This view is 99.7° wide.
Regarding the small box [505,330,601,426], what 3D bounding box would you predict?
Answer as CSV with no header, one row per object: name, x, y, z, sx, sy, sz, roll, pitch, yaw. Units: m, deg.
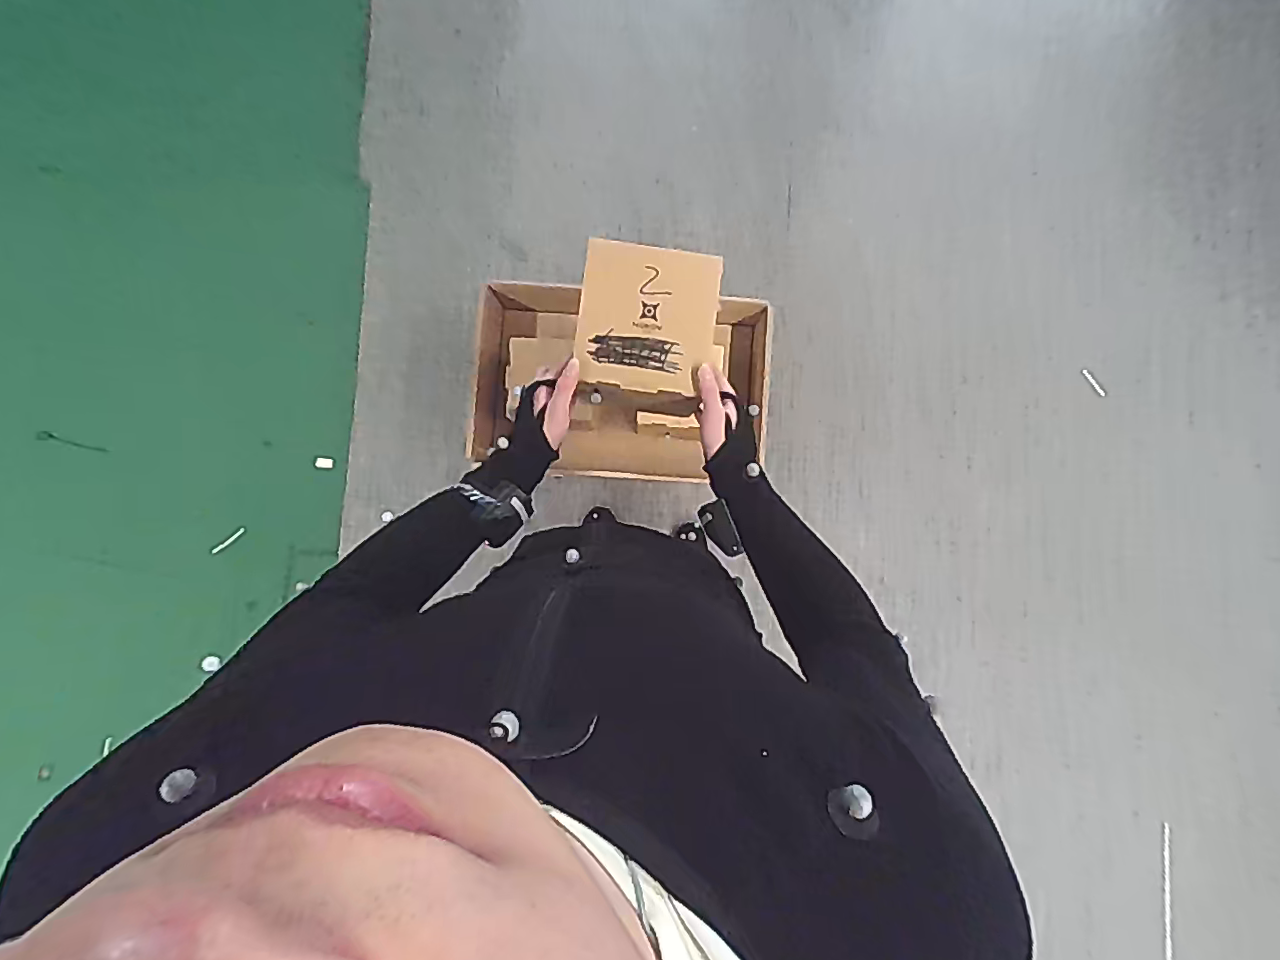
small box,-0.181,-0.213,1.168,0.179,0.176,0.168,3,88,-1
